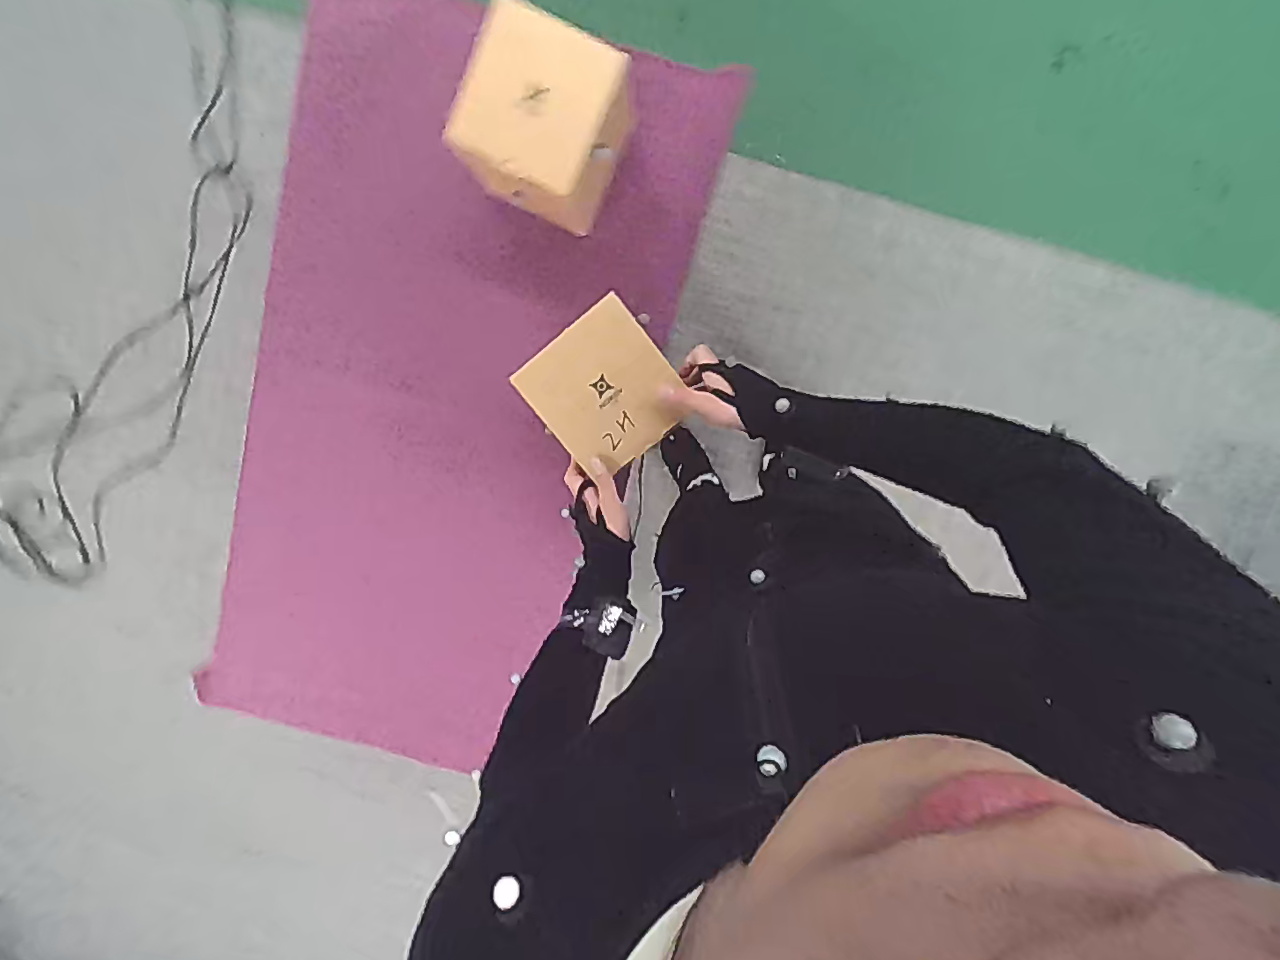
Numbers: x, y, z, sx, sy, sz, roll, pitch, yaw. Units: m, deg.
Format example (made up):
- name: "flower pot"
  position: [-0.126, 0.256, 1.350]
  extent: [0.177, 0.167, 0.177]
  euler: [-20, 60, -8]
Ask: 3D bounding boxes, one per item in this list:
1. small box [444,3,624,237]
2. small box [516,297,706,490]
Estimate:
- name: "small box"
  position: [-0.129, -0.462, 0.726]
  extent: [0.168, 0.176, 0.179]
  euler: [25, 100, -1]
- name: "small box"
  position: [-0.035, -0.113, 0.728]
  extent: [0.168, 0.176, 0.179]
  euler: [-37, 98, 7]
